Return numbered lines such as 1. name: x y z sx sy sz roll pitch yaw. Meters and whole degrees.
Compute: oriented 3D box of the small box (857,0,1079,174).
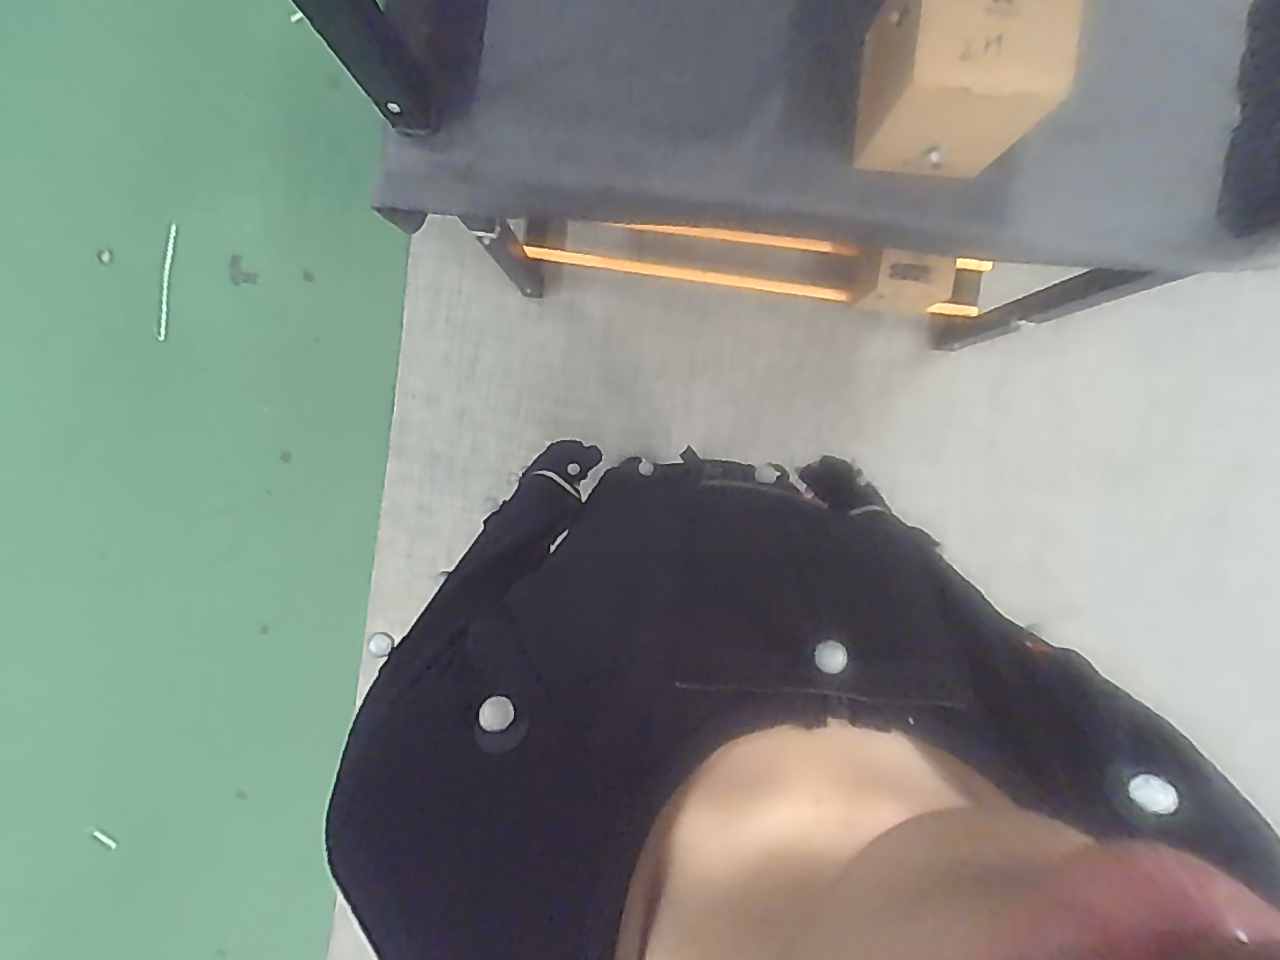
1. small box: 0.374 -0.502 0.642 0.168 0.176 0.179 5 92 1
